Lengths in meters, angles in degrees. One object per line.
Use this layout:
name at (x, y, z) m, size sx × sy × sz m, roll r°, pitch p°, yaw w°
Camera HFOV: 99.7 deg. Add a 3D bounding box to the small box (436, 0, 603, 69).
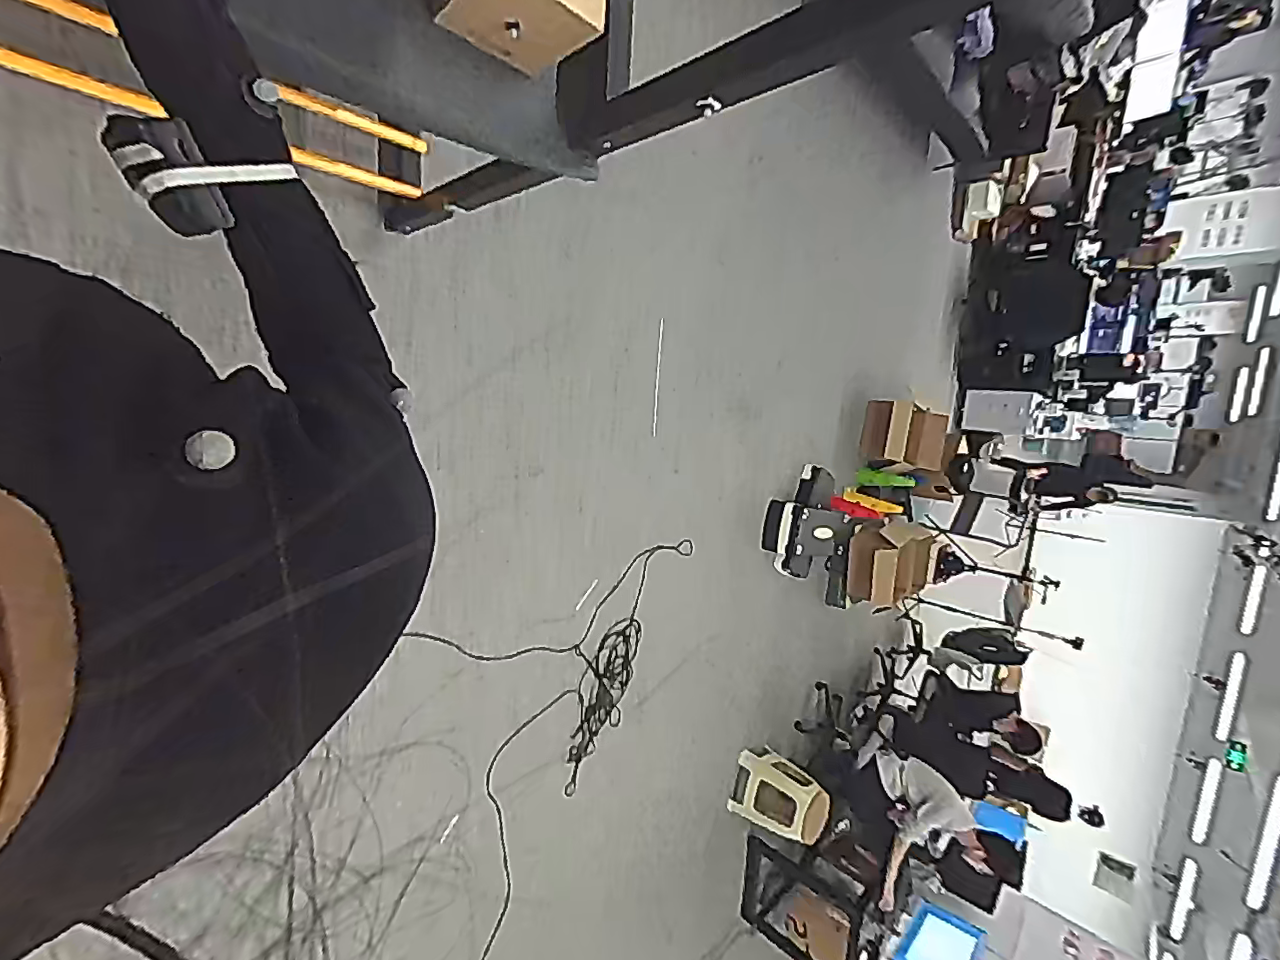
small box at (-0.162, -0.700, 0.719) m, size 0.168 × 0.176 × 0.179 m, roll -6°, pitch 101°, yaw -46°
